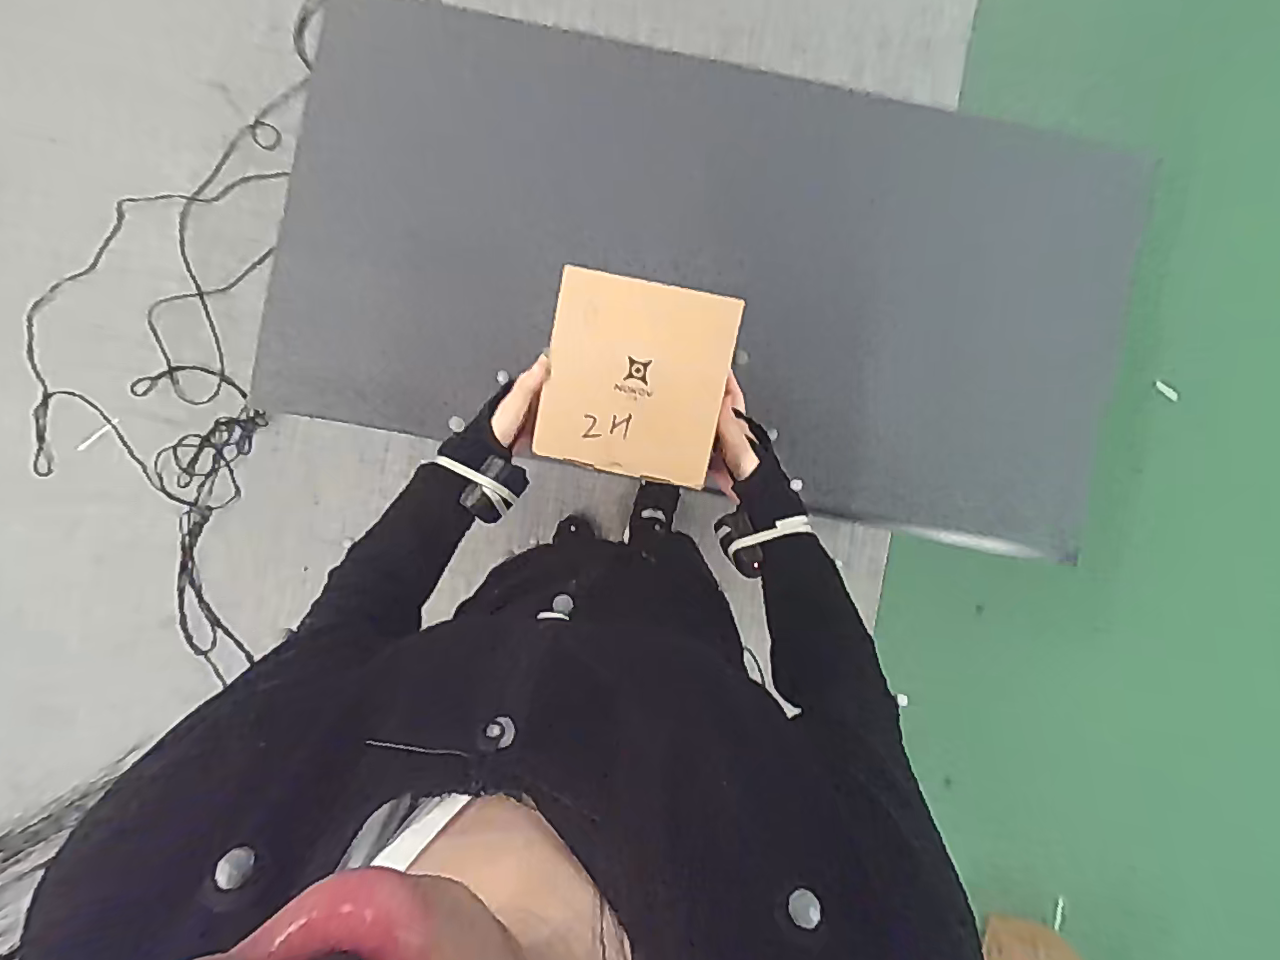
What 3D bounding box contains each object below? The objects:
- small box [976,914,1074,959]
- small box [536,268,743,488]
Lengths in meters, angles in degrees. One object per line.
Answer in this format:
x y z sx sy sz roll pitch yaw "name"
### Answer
1.051 1.318 1.452 0.179 0.176 0.168 12 91 0 "small box"
0.001 -0.101 0.579 0.168 0.176 0.179 12 97 2 "small box"
